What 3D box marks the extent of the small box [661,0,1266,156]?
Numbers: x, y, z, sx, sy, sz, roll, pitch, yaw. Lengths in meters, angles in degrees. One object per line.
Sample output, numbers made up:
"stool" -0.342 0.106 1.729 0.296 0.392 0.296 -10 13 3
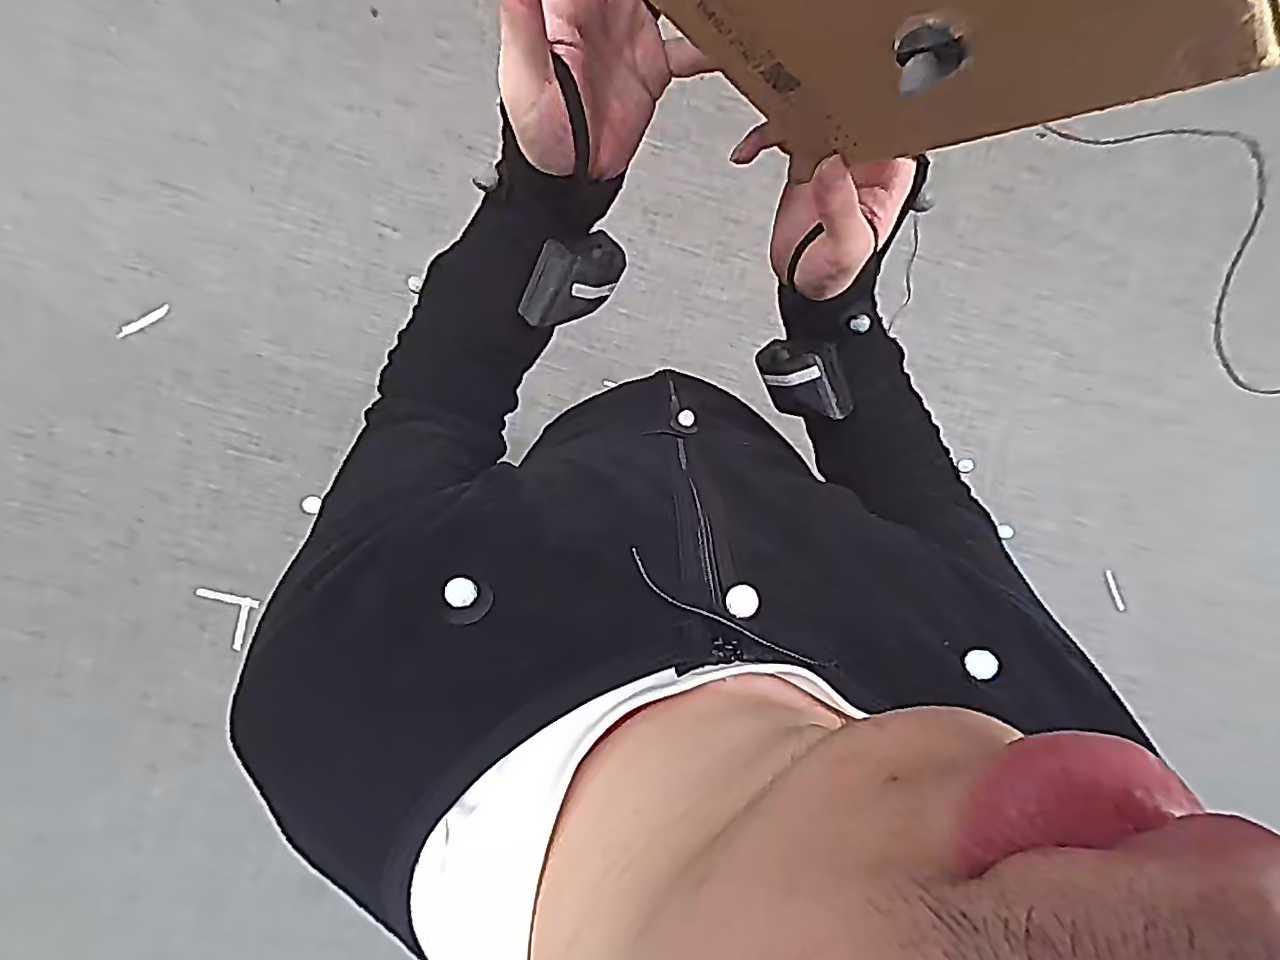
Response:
"small box" 0.099 -0.240 0.168 0.168 0.176 0.179 21 97 -32
